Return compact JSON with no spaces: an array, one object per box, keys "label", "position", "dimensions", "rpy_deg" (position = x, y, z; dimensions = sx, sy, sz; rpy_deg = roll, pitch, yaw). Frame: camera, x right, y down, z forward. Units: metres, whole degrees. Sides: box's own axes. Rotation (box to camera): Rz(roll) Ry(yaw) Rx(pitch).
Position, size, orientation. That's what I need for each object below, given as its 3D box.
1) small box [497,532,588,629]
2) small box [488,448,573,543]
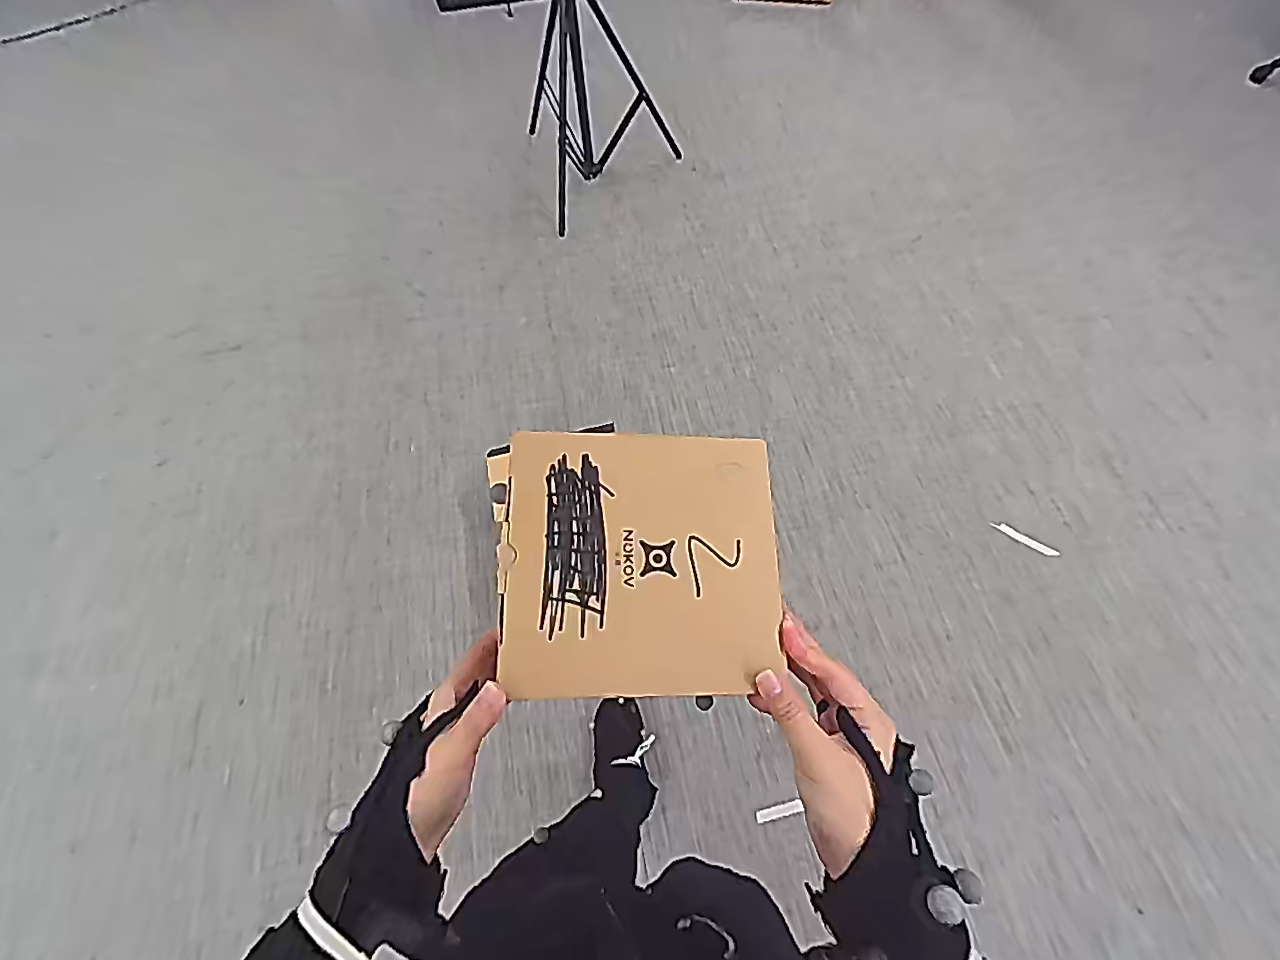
[{"label":"small box","position":[-0.223,0.240,1.271],"dimensions":[0.179,0.176,0.168],"rpy_deg":[-12,65,-4]},{"label":"small box","position":[-0.275,0.042,1.362],"dimensions":[0.168,0.176,0.179],"rpy_deg":[-14,65,-4]}]
